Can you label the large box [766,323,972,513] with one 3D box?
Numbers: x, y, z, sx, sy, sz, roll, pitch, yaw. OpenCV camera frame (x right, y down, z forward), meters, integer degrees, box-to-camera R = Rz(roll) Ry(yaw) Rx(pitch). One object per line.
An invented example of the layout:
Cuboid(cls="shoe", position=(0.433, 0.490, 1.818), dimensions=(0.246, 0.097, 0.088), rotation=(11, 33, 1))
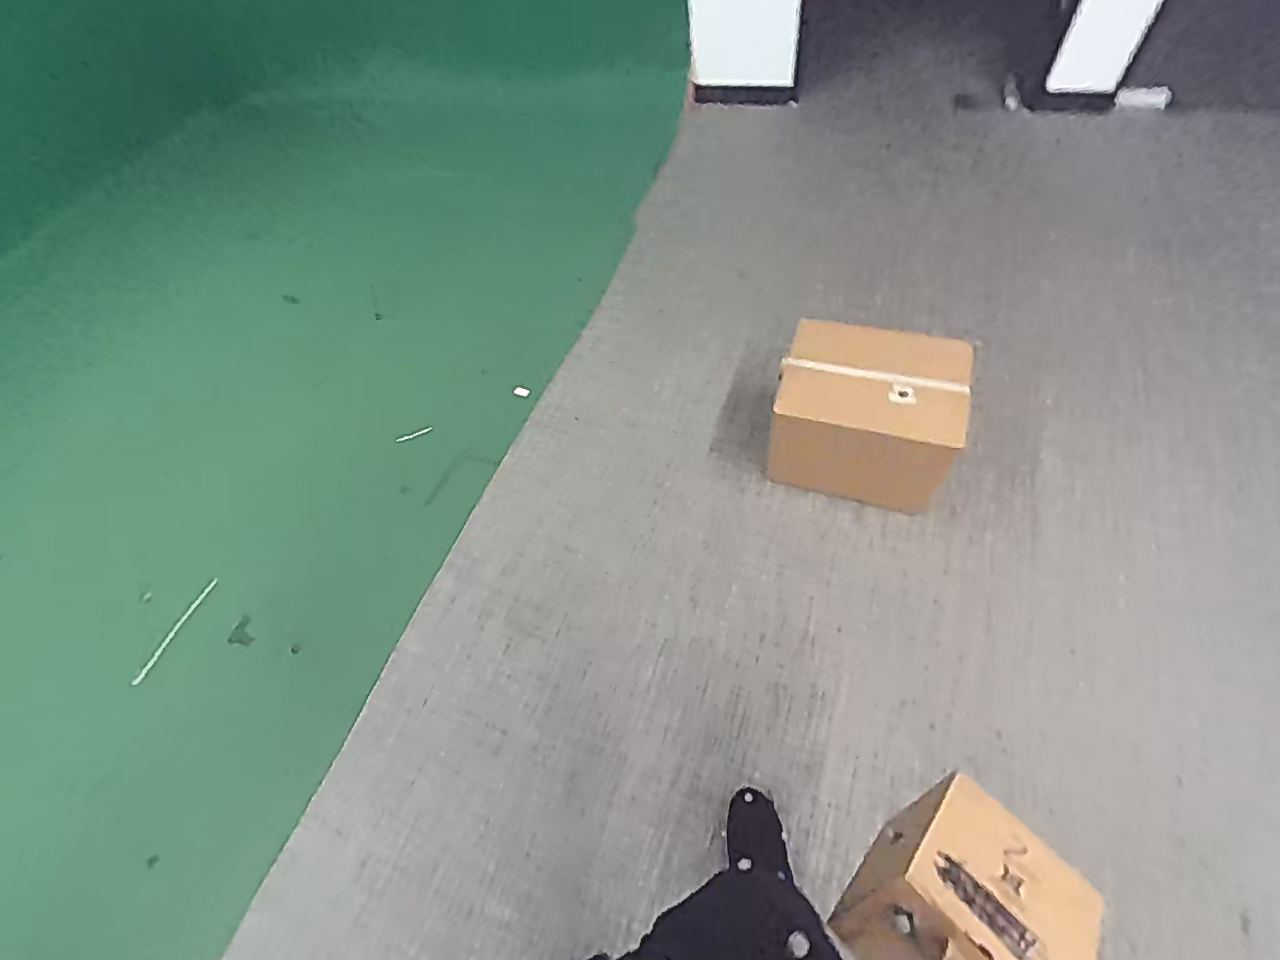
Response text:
Cuboid(cls="large box", position=(0.557, -0.155, 1.370), dimensions=(0.408, 0.320, 0.320), rotation=(14, 63, 16))
